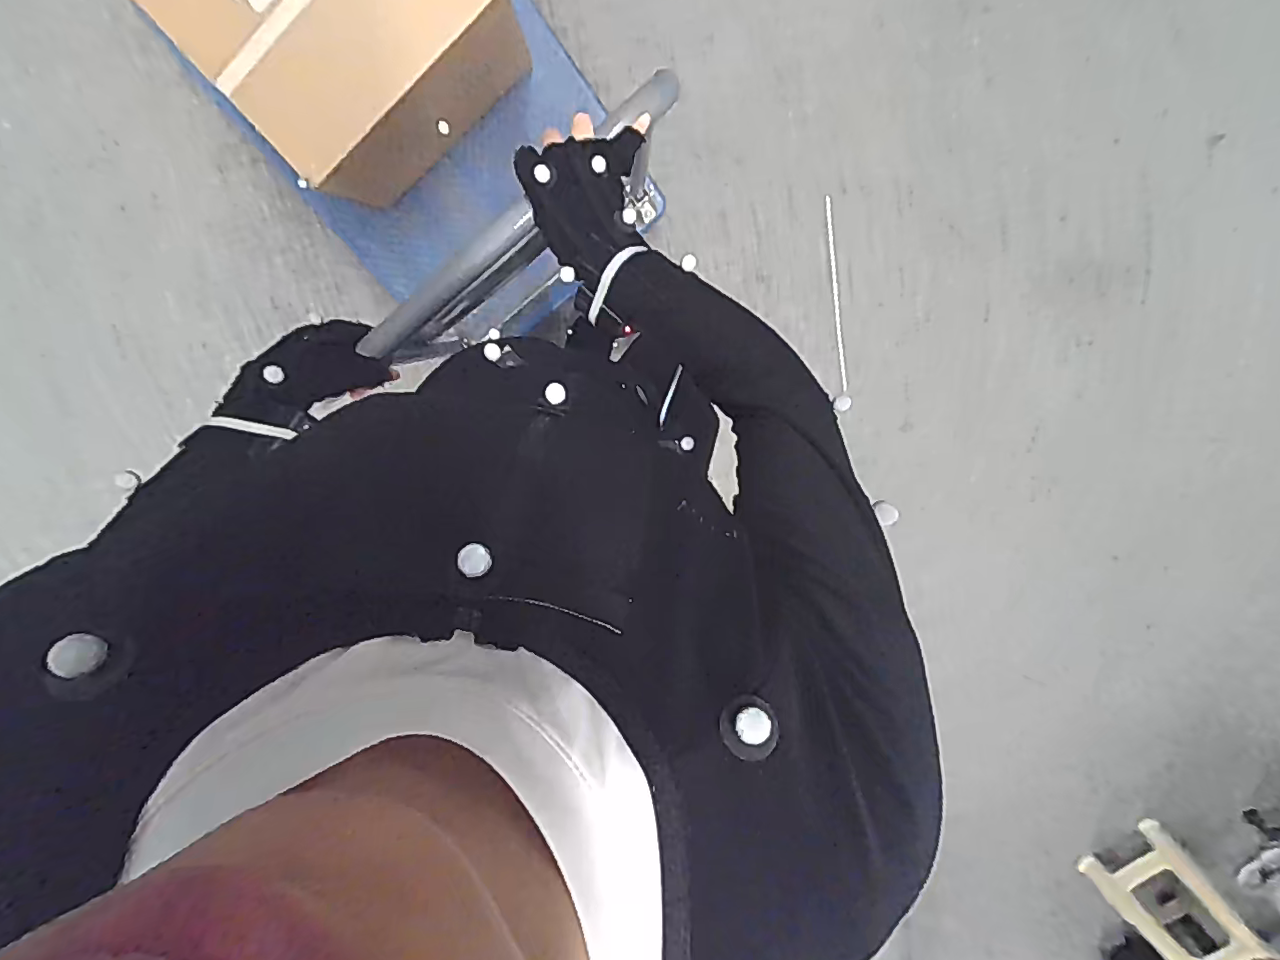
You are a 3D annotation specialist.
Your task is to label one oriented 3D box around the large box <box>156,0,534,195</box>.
[{"bbox_3d":[-0.431,-0.740,0.871,0.408,0.320,0.320,-38,109,11],"label":"large box"}]
